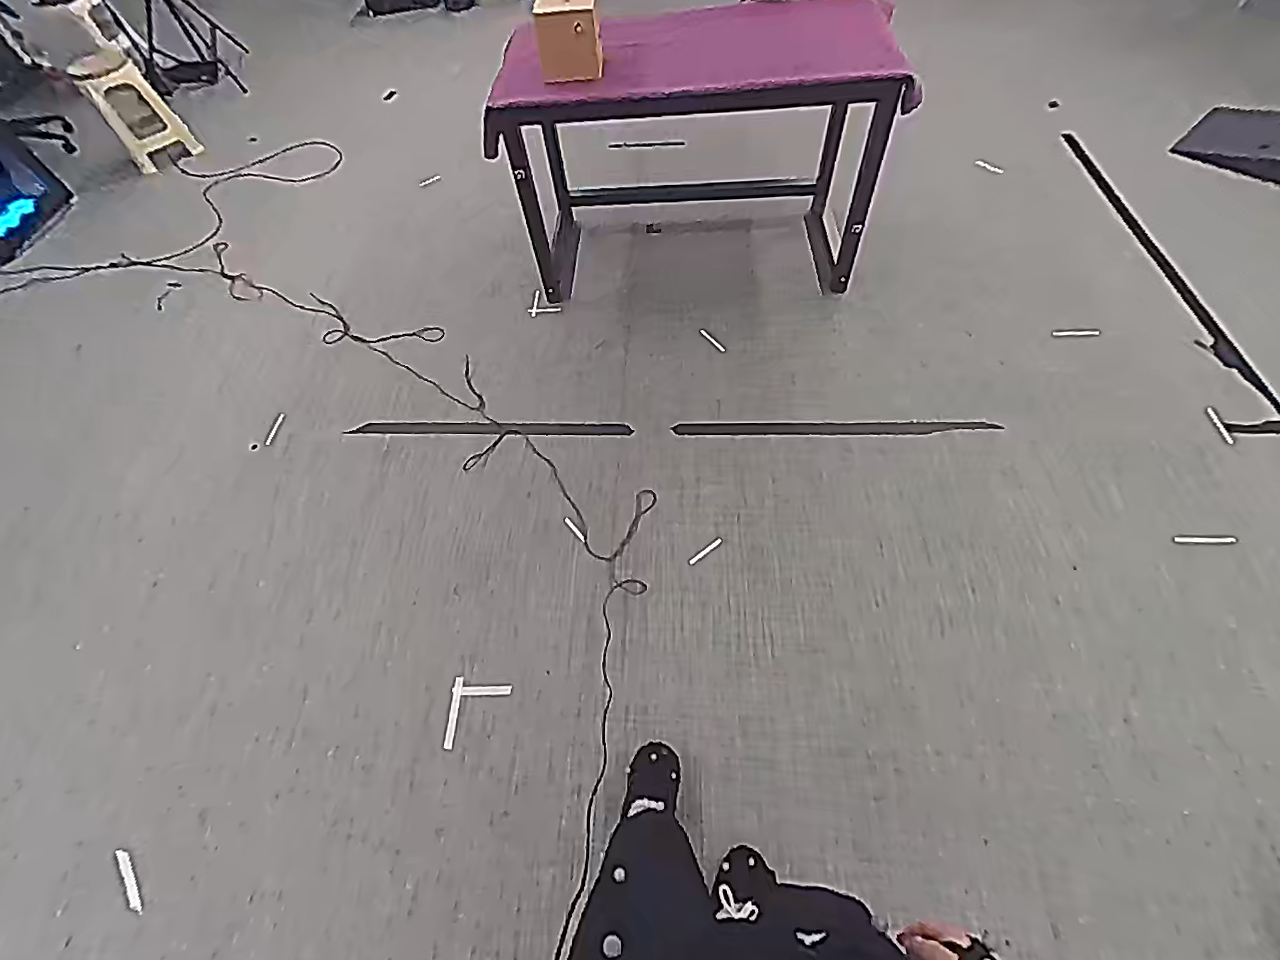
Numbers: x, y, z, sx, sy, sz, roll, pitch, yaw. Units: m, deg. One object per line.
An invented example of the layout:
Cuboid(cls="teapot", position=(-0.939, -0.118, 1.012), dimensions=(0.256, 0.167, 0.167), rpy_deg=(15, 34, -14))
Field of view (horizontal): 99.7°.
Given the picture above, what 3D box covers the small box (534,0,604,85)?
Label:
Cuboid(cls="small box", position=(-0.203, -1.305, 1.604), dimensions=(0.179, 0.176, 0.168), rpy_deg=(-2, 56, 4))
